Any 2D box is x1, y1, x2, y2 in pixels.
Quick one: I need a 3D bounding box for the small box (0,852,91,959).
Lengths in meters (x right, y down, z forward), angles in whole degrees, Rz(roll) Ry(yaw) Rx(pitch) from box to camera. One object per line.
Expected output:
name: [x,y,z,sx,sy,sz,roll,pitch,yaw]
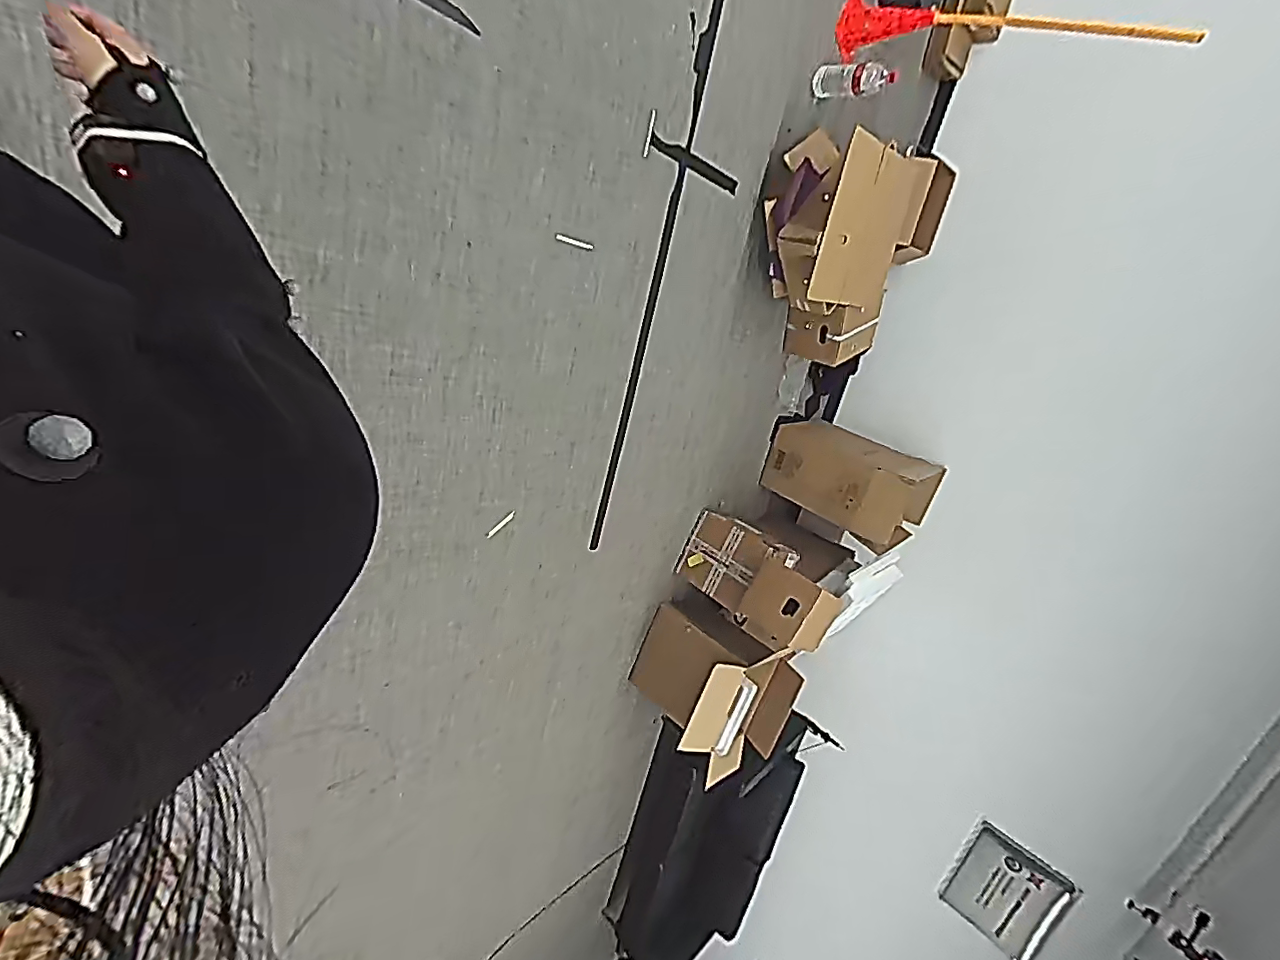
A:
small box: [-0.894,0.668,0.754,0.168,0.176,0.179,0,113,-49]
